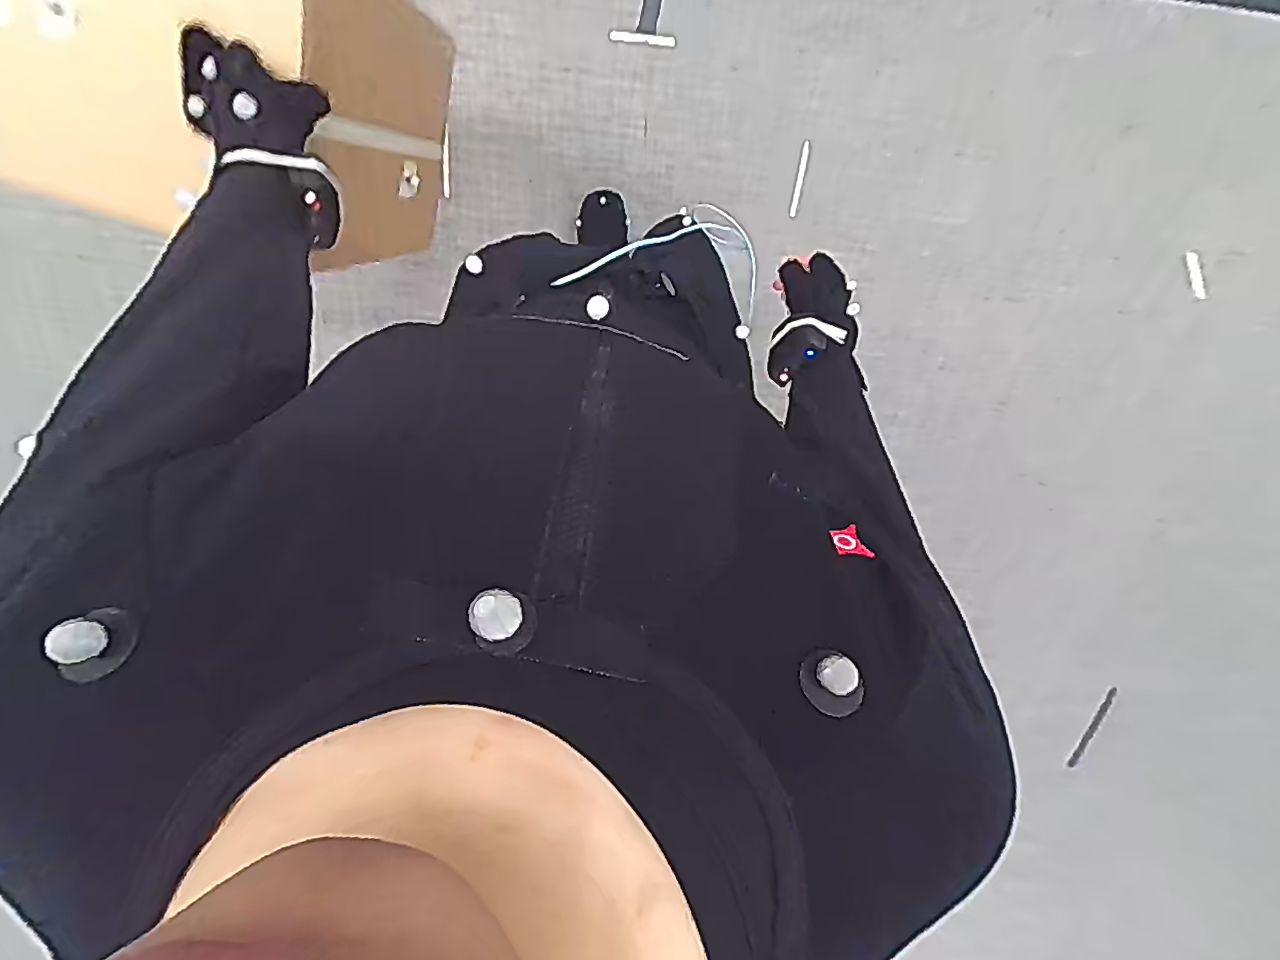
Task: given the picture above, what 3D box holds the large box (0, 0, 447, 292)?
[{"bbox_3d":[-0.482,-0.471,0.704,0.320,0.408,0.320,15,117,-7],"label":"large box"}]
